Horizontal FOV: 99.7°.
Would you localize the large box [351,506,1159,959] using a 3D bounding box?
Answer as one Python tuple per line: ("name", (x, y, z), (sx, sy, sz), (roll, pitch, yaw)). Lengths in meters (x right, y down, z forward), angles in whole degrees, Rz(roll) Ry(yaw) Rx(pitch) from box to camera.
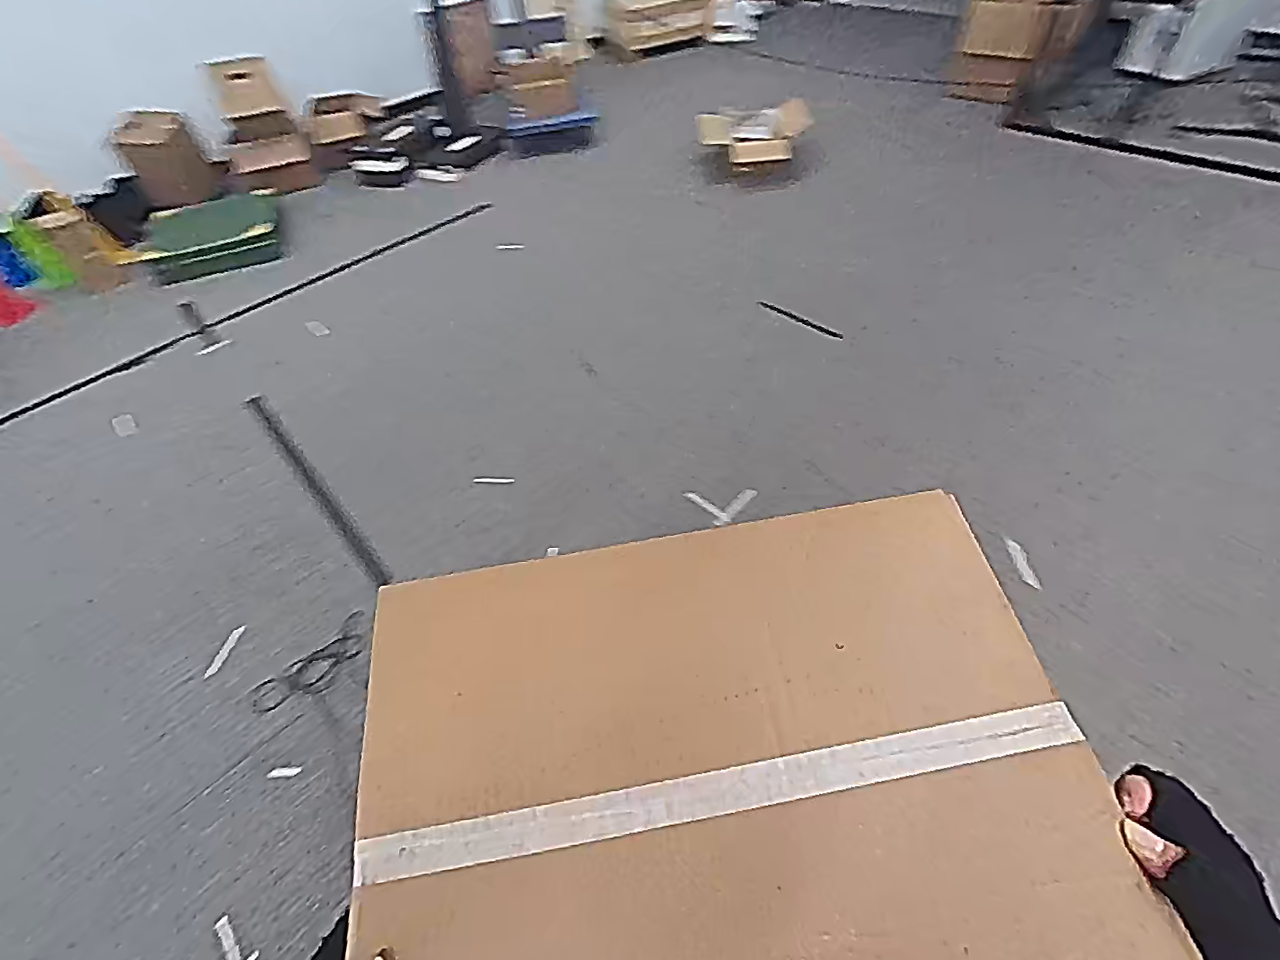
("large box", (0.048, 0.260, 0.434), (0.408, 0.320, 0.320), (-11, 59, -3))
